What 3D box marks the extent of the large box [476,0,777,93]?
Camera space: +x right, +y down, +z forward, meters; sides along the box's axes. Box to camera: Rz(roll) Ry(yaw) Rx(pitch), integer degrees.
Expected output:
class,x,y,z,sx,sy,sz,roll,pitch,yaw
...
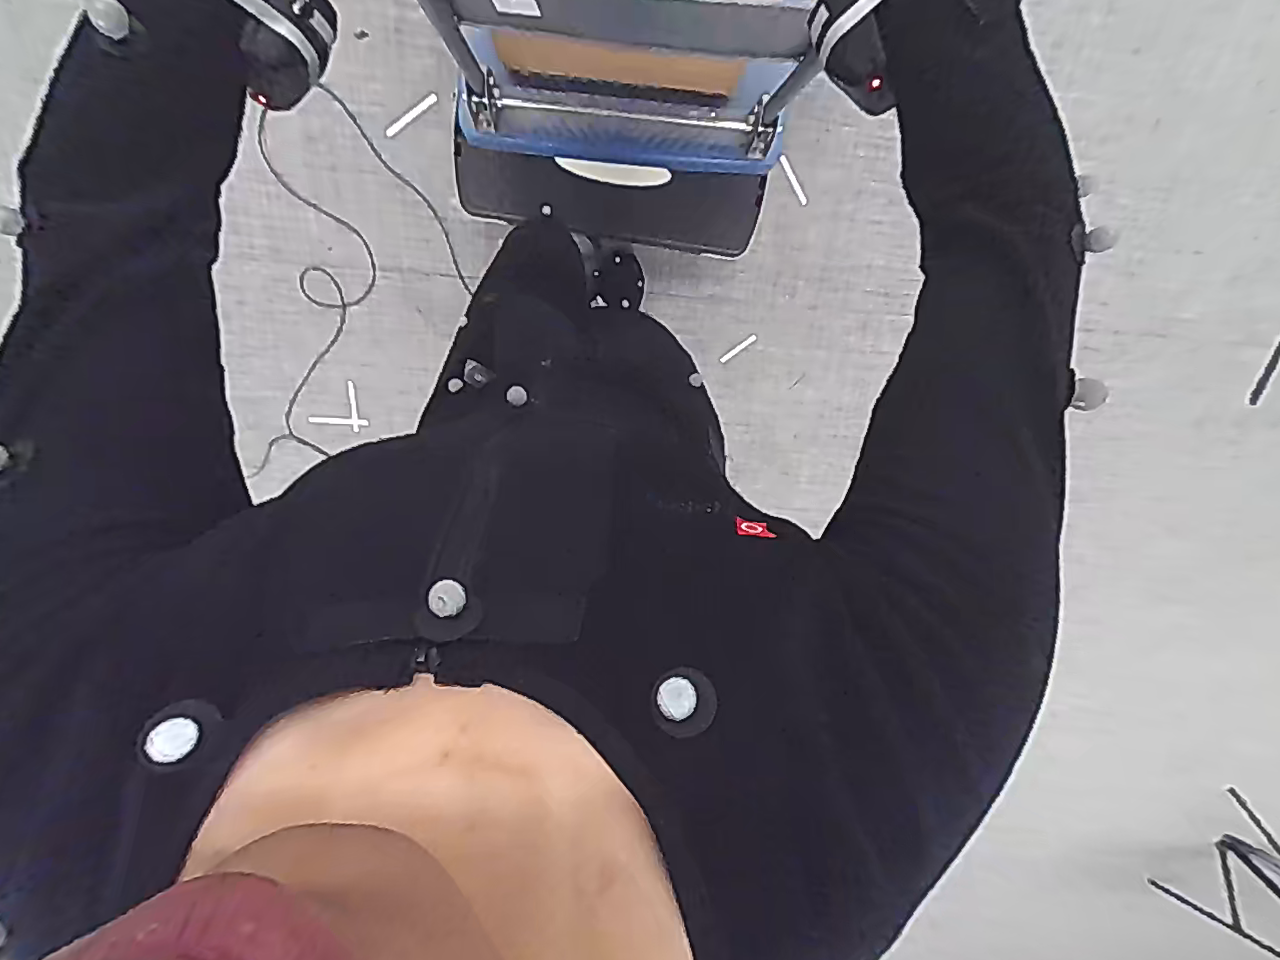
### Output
class,x,y,z,sx,sy,sz,roll,pitch,yaw
large box,-0.021,-0.788,0.745,0.408,0.320,0.320,3,105,-5
